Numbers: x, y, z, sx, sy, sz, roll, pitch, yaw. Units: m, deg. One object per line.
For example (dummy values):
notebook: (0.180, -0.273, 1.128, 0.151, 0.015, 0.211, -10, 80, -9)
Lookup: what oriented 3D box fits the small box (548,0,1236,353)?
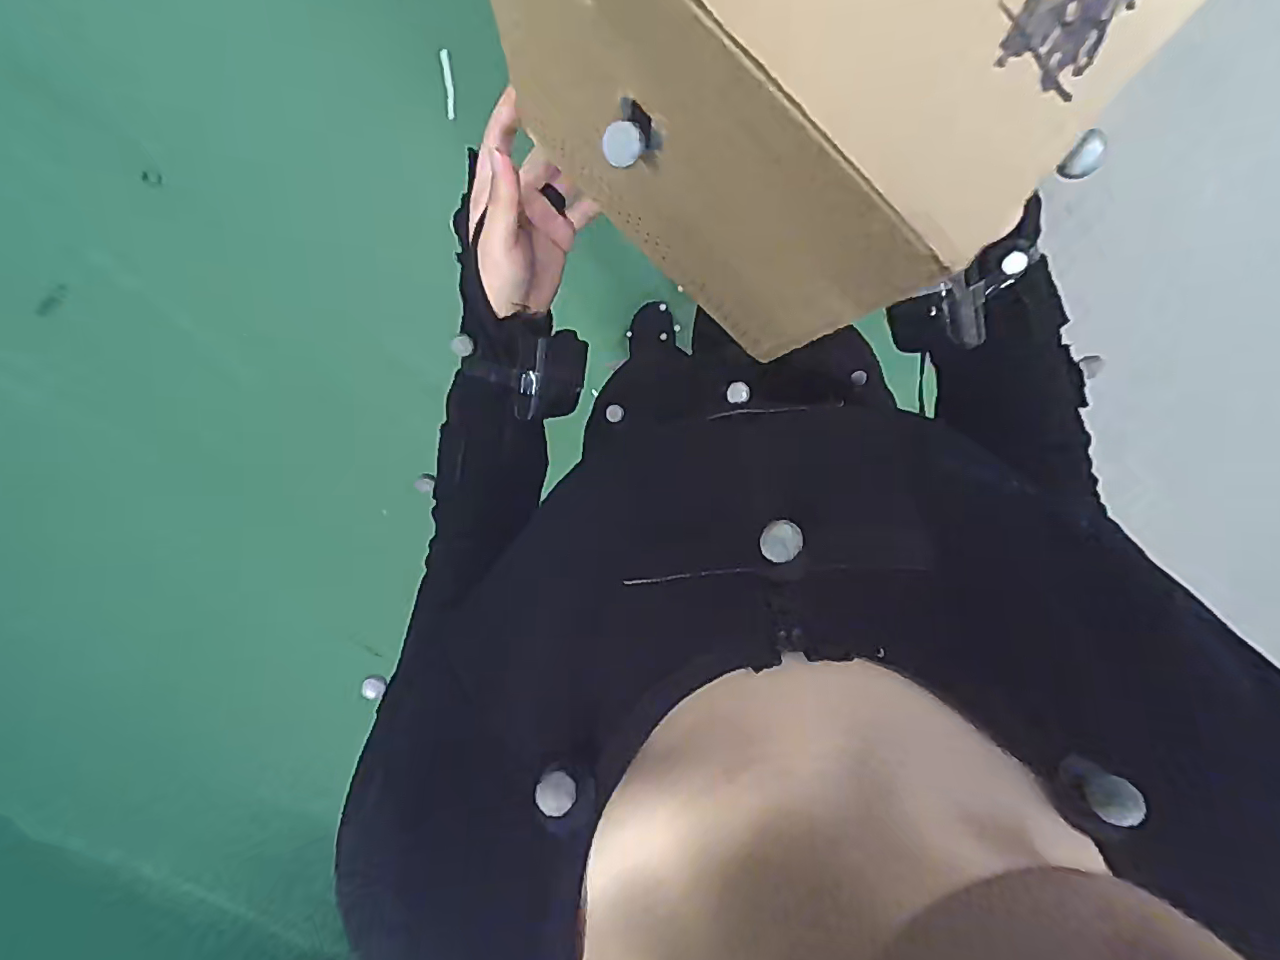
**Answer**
small box: (0.075, -0.172, 0.216, 0.179, 0.176, 0.168, 42, 92, -5)
